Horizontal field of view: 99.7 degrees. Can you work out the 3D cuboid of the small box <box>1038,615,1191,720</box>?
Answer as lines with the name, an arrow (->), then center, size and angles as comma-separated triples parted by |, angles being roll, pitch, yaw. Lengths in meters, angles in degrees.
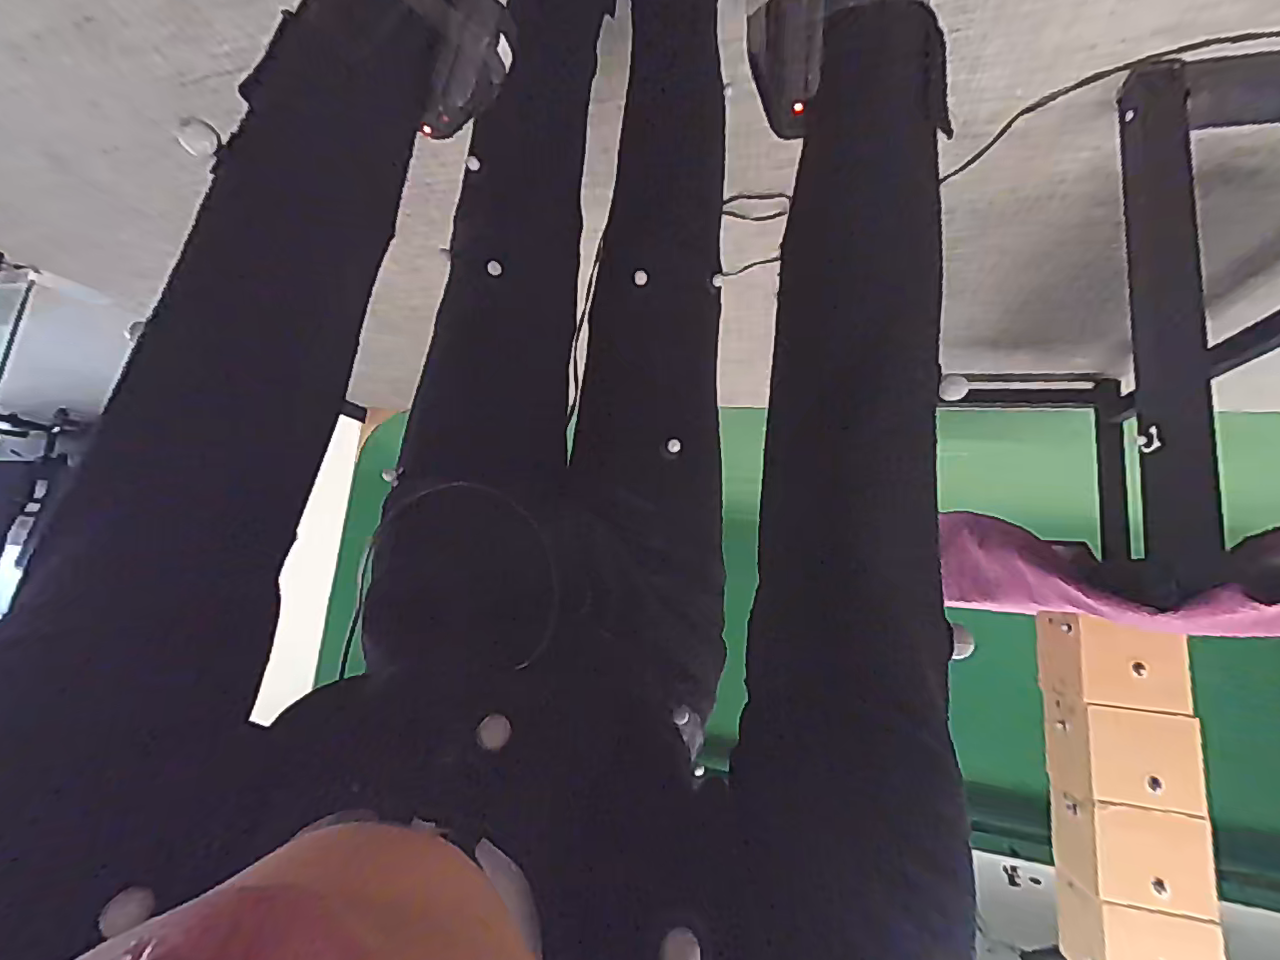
small box -> 0.927, 0.362, 1.077 | 0.179, 0.176, 0.168 | 2, 168, 13

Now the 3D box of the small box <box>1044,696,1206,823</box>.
small box -> 0.918, 0.523, 1.041 | 0.179, 0.176, 0.168 | 3, 168, 13

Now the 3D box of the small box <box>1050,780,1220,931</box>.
small box -> 0.907, 0.682, 1.009 | 0.179, 0.176, 0.168 | 3, 168, 13
